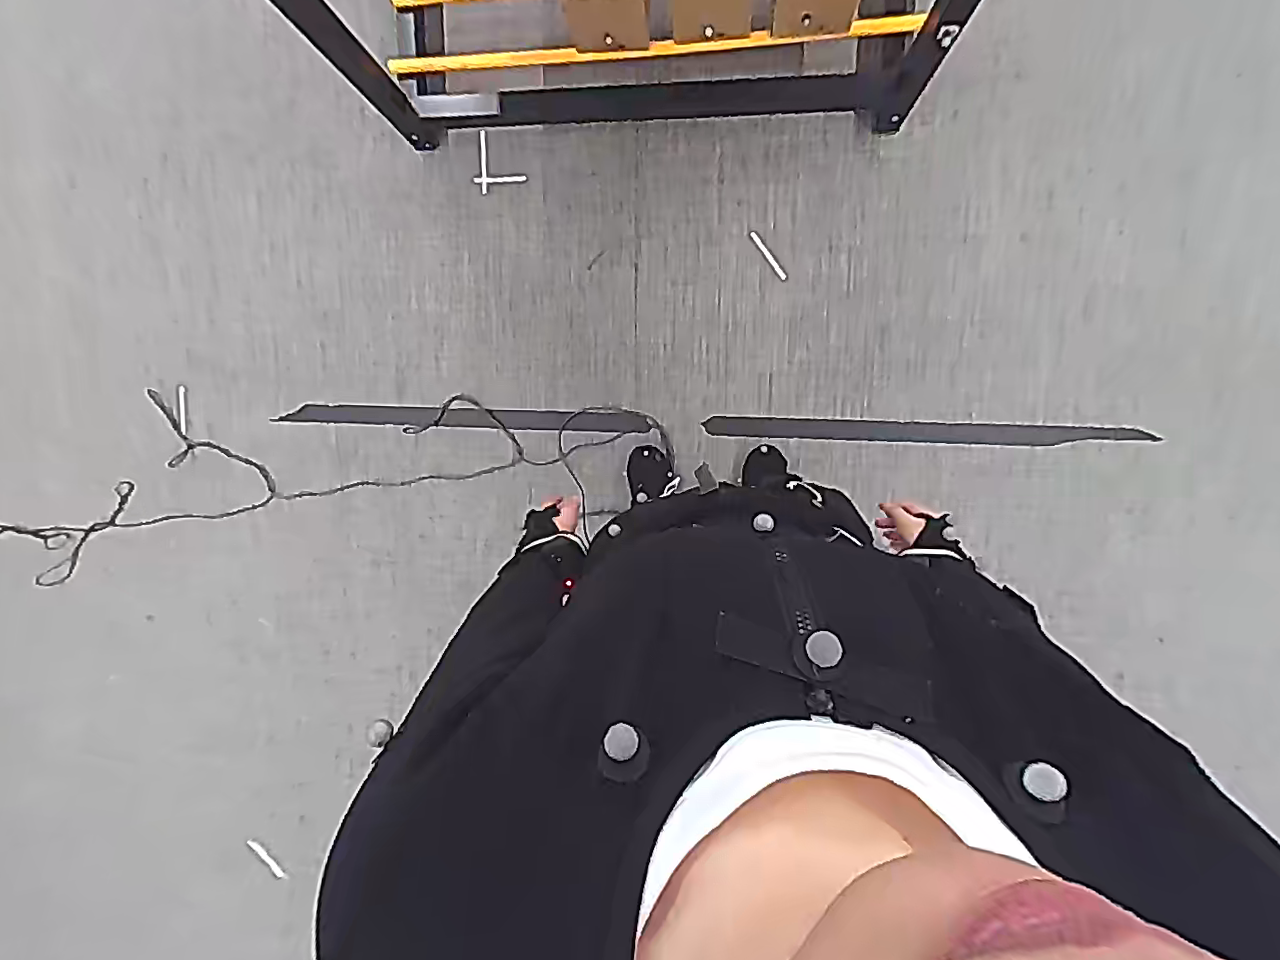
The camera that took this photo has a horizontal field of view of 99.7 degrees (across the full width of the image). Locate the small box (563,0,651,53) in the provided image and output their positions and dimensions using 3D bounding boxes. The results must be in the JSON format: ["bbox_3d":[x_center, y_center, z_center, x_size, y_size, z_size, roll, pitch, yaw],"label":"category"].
[{"bbox_3d":[-0.068,-1.031,1.115,0.168,0.176,0.179,2,97,6],"label":"small box"}]

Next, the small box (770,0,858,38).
[{"bbox_3d":[0.350,-1.028,1.068,0.168,0.176,0.179,0,96,7],"label":"small box"}]
